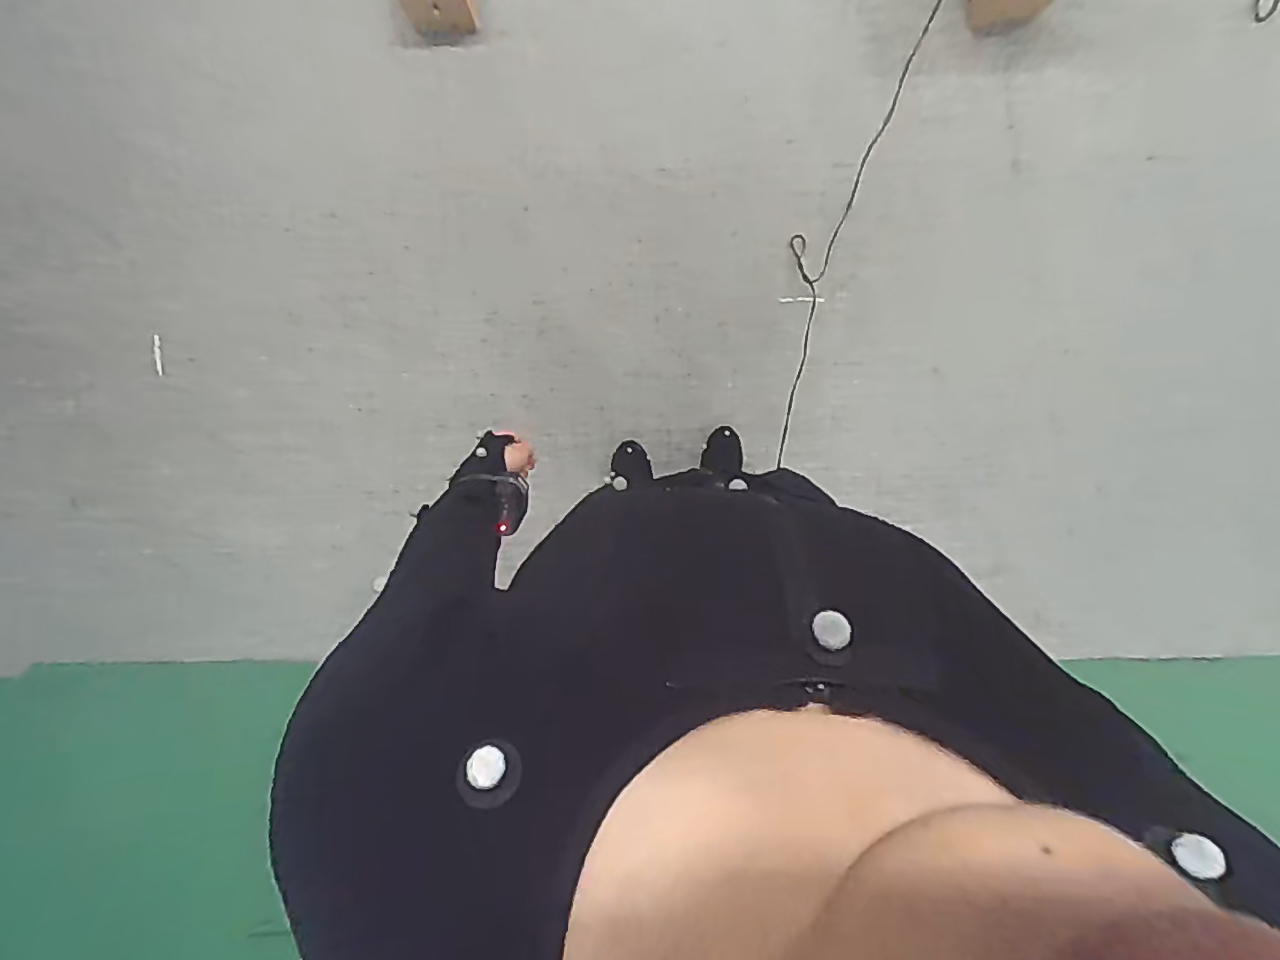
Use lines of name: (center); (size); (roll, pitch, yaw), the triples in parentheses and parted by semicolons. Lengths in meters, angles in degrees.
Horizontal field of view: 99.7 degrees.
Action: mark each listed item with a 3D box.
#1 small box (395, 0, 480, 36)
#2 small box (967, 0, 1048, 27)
small box: (-0.494, -1.216, 1.305); (0.168, 0.176, 0.179); (0, 95, 2)
small box: (0.888, -1.211, 1.263); (0.179, 0.176, 0.168); (-9, 95, 2)
